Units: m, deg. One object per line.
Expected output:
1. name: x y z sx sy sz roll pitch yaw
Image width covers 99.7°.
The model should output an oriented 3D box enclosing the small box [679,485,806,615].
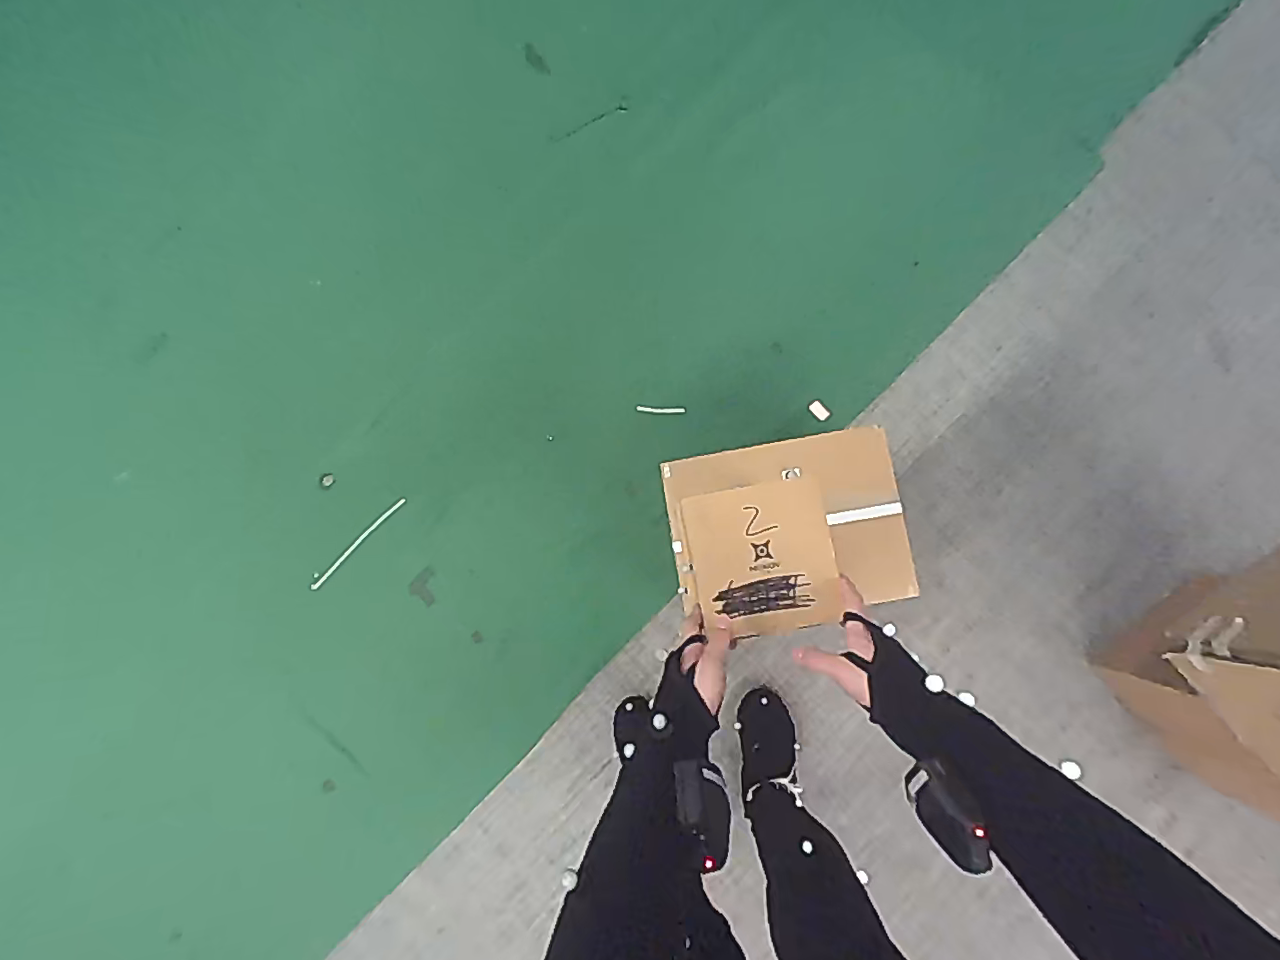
1. small box: 0.155 0.111 0.873 0.168 0.176 0.179 -8 84 3
